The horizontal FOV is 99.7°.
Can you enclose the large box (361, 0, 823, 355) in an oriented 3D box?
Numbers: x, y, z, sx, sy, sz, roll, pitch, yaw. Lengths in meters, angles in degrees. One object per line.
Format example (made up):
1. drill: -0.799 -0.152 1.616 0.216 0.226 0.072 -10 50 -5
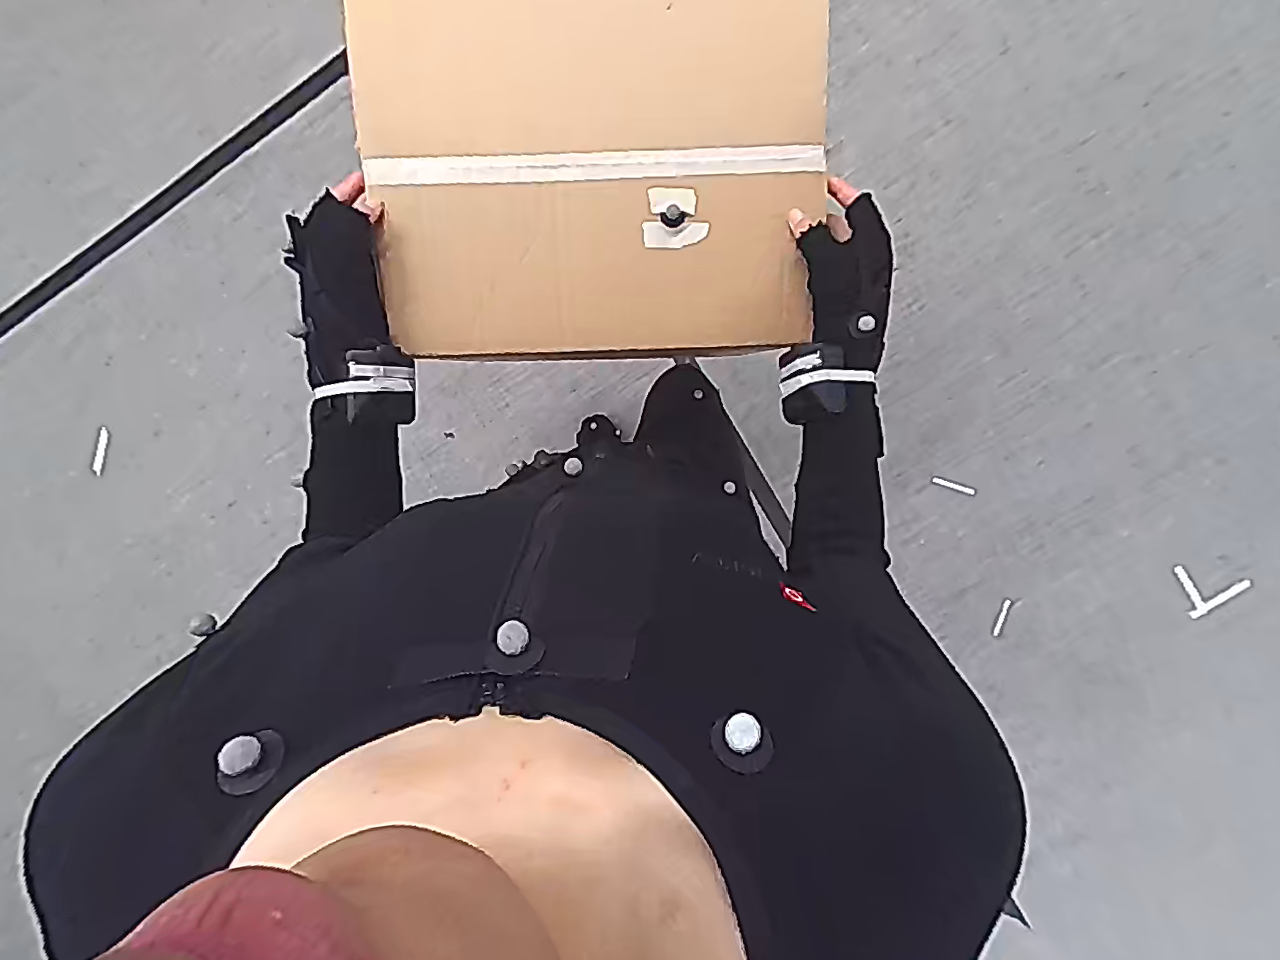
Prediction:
1. large box: -0.040 -0.318 0.632 0.408 0.320 0.320 -2 101 -1
